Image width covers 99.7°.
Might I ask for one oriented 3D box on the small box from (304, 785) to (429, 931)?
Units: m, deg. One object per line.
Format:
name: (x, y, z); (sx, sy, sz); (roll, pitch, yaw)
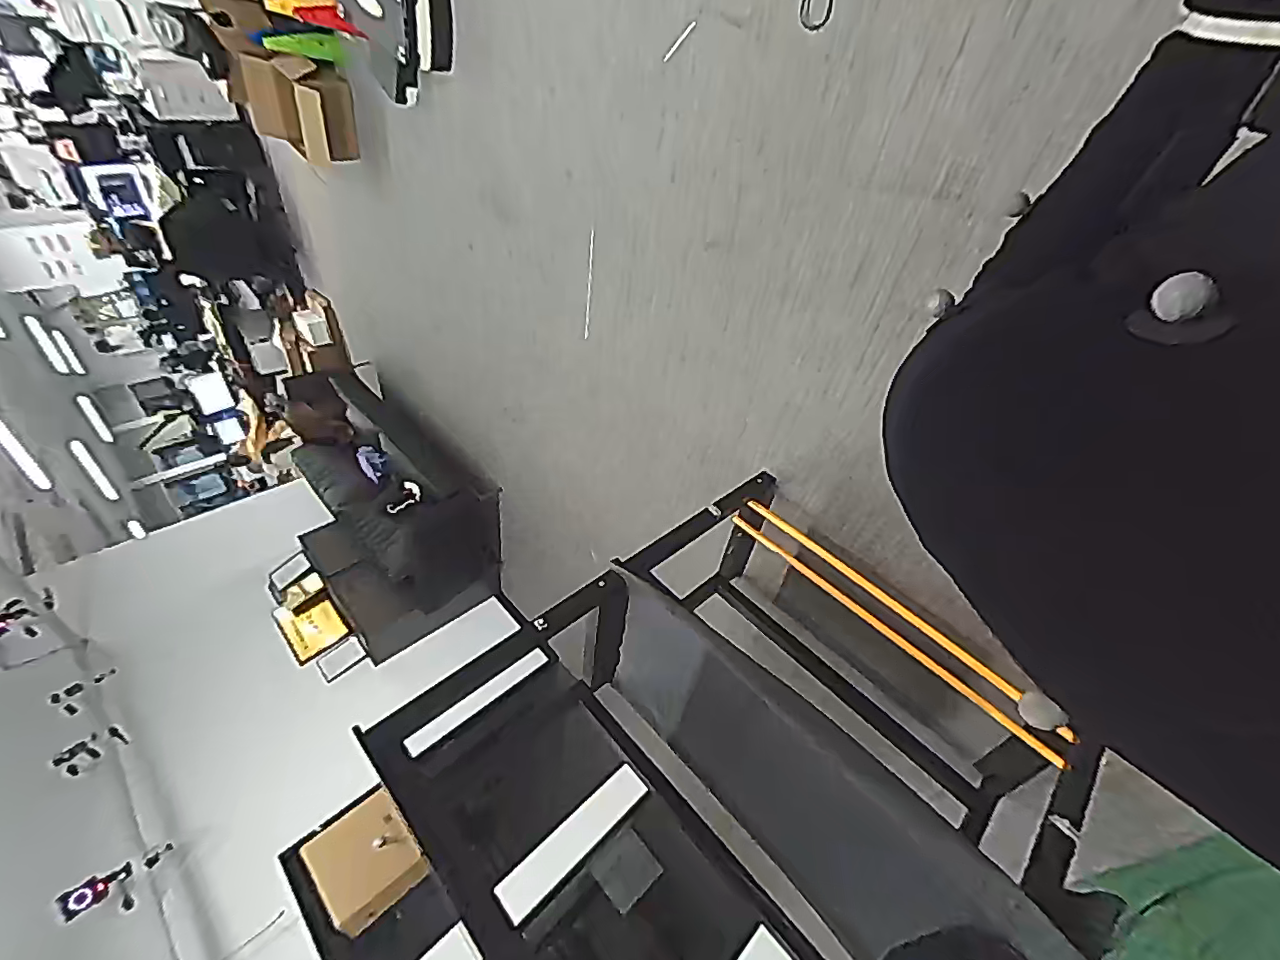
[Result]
small box: (-0.554, 0.776, 1.116); (0.168, 0.176, 0.179); (42, 140, 24)
